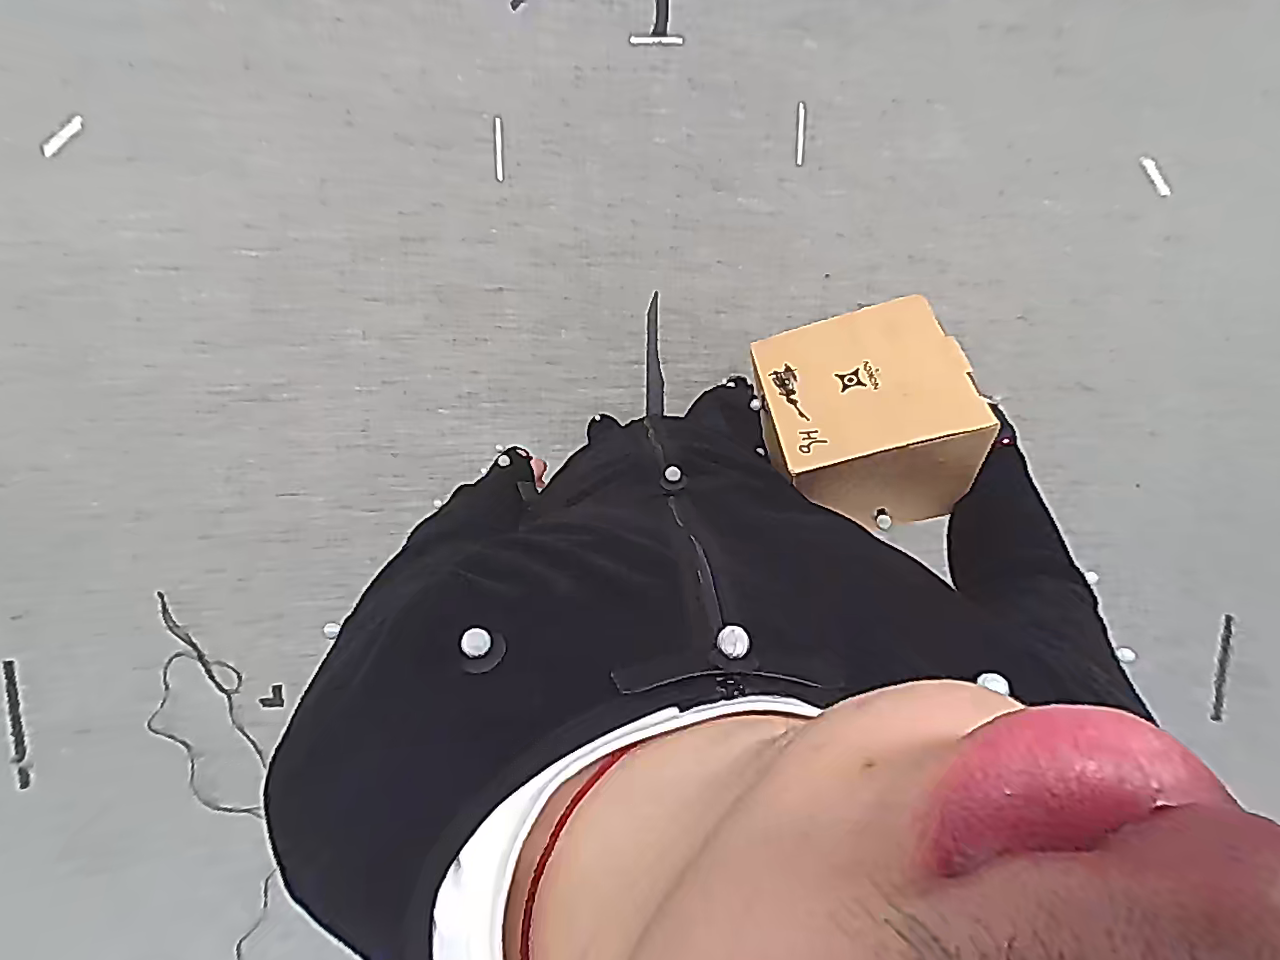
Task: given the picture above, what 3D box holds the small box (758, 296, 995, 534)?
[{"bbox_3d":[0.235,-0.060,0.584,0.179,0.176,0.168,-14,57,10],"label":"small box"}]
